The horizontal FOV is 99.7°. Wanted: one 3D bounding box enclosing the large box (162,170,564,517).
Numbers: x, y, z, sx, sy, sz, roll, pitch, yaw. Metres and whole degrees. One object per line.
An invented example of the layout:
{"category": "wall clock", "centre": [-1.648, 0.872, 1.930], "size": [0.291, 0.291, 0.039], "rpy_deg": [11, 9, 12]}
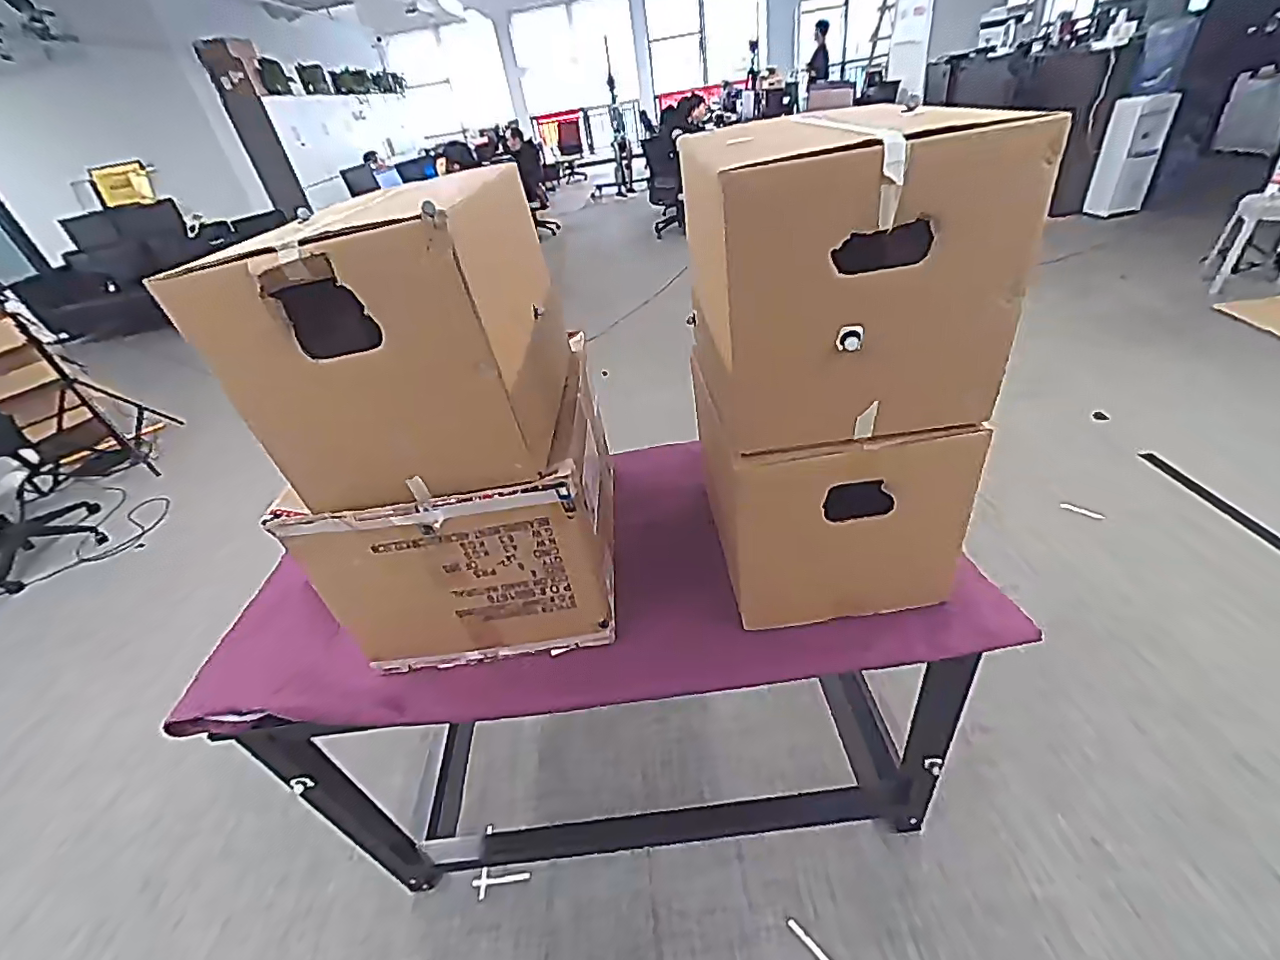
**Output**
{"category": "large box", "centre": [-0.303, -0.210, 0.763], "size": [0.320, 0.320, 0.408], "rpy_deg": [-11, 36, 6]}
